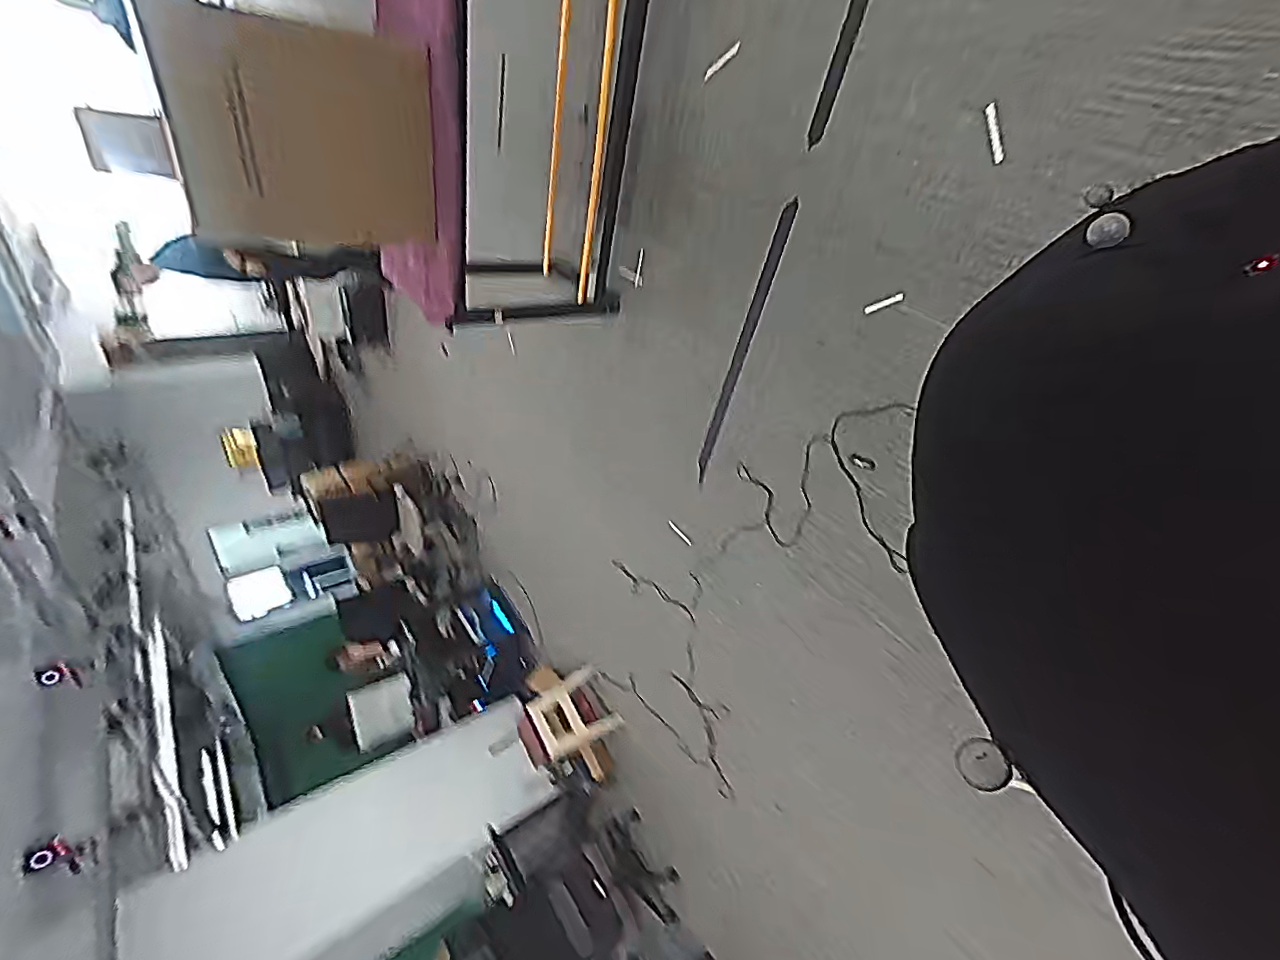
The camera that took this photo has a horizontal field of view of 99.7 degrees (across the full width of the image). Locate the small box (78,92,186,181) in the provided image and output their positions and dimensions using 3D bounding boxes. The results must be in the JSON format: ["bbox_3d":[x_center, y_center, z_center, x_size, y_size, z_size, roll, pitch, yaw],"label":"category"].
[{"bbox_3d":[-1.331,-0.901,1.419,0.168,0.176,0.179,40,132,38],"label":"small box"}]
